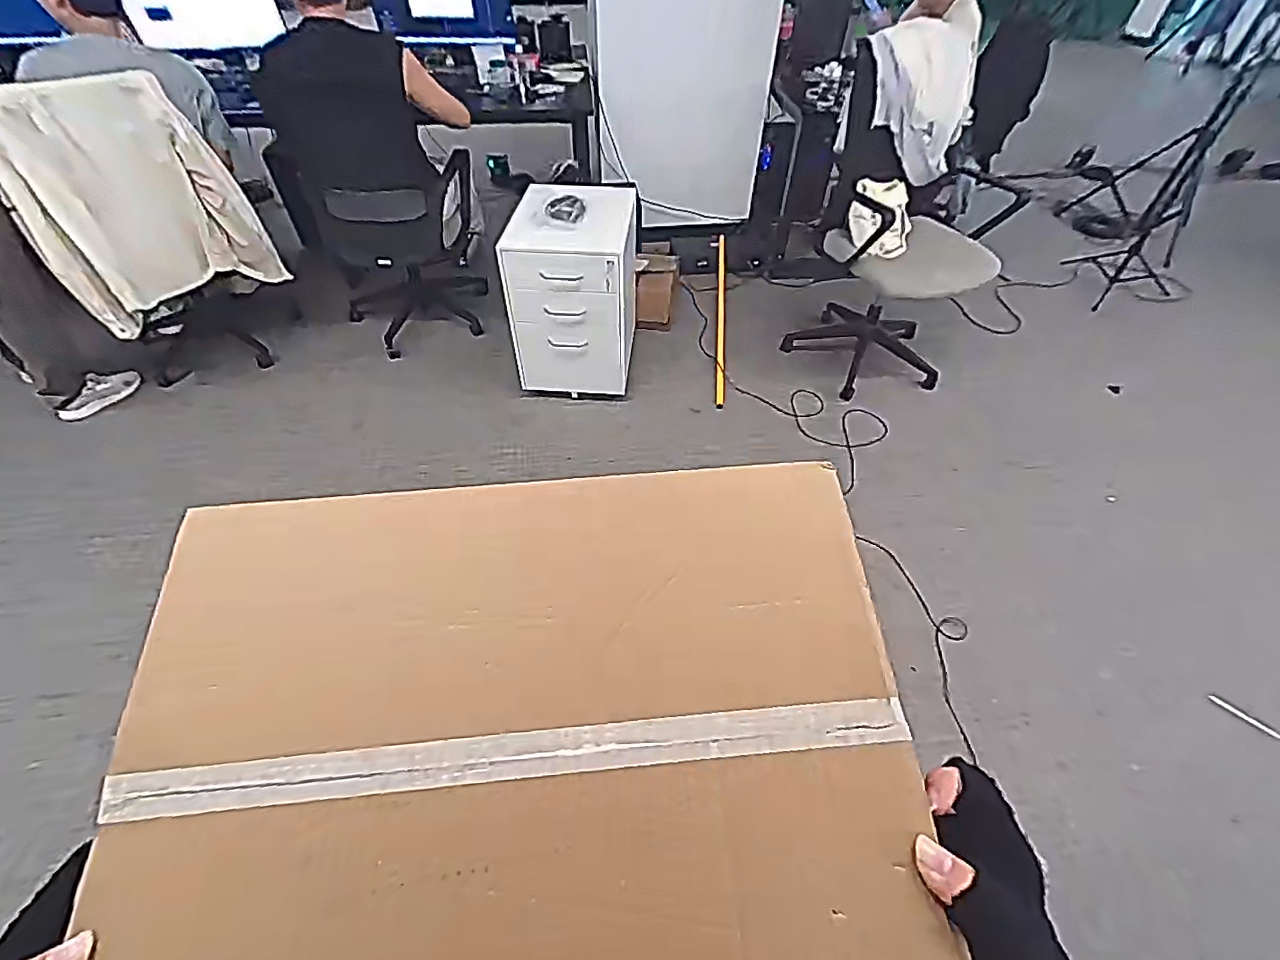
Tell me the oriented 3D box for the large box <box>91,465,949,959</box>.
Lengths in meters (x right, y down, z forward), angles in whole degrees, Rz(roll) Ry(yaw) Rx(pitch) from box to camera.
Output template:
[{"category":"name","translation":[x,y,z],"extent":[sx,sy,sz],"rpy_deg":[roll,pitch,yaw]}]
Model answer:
[{"category":"large box","translation":[-0.065,0.209,0.425],"extent":[0.408,0.320,0.320],"rpy_deg":[-4,65,-2]}]
